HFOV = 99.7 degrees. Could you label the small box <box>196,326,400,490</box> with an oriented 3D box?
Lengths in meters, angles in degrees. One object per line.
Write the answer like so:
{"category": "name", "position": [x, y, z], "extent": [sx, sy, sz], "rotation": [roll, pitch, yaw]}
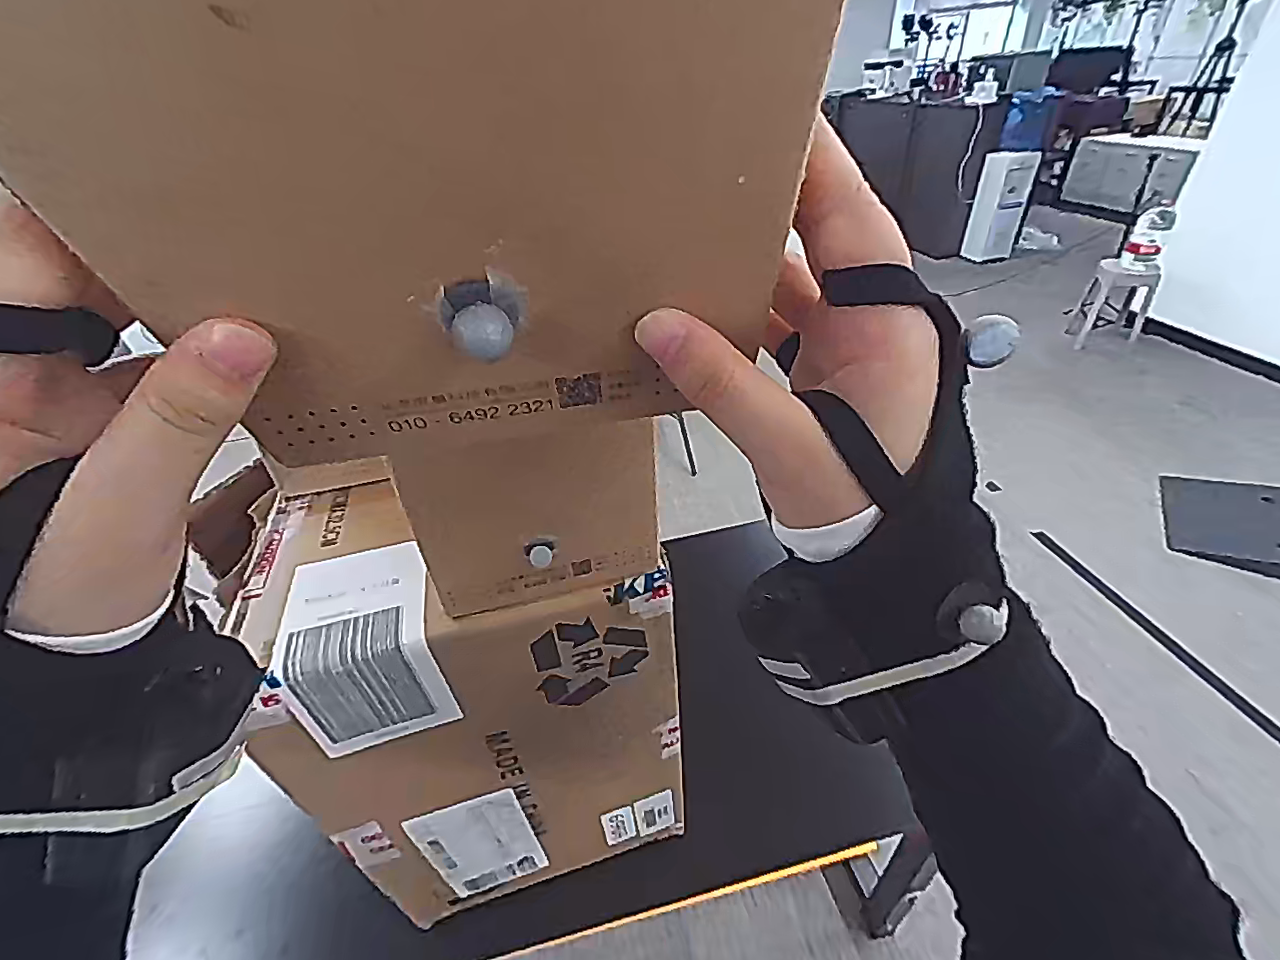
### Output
{"category": "small box", "position": [-0.281, -0.109, 0.546], "extent": [0.179, 0.176, 0.168], "rotation": [-13, 36, -11]}

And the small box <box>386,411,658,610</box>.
{"category": "small box", "position": [-0.089, -0.031, 0.424], "extent": [0.168, 0.176, 0.179], "rotation": [-12, 39, -11]}

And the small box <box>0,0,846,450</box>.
{"category": "small box", "position": [-0.055, -0.134, 0.168], "extent": [0.168, 0.176, 0.179], "rotation": [-9, 58, -5]}
